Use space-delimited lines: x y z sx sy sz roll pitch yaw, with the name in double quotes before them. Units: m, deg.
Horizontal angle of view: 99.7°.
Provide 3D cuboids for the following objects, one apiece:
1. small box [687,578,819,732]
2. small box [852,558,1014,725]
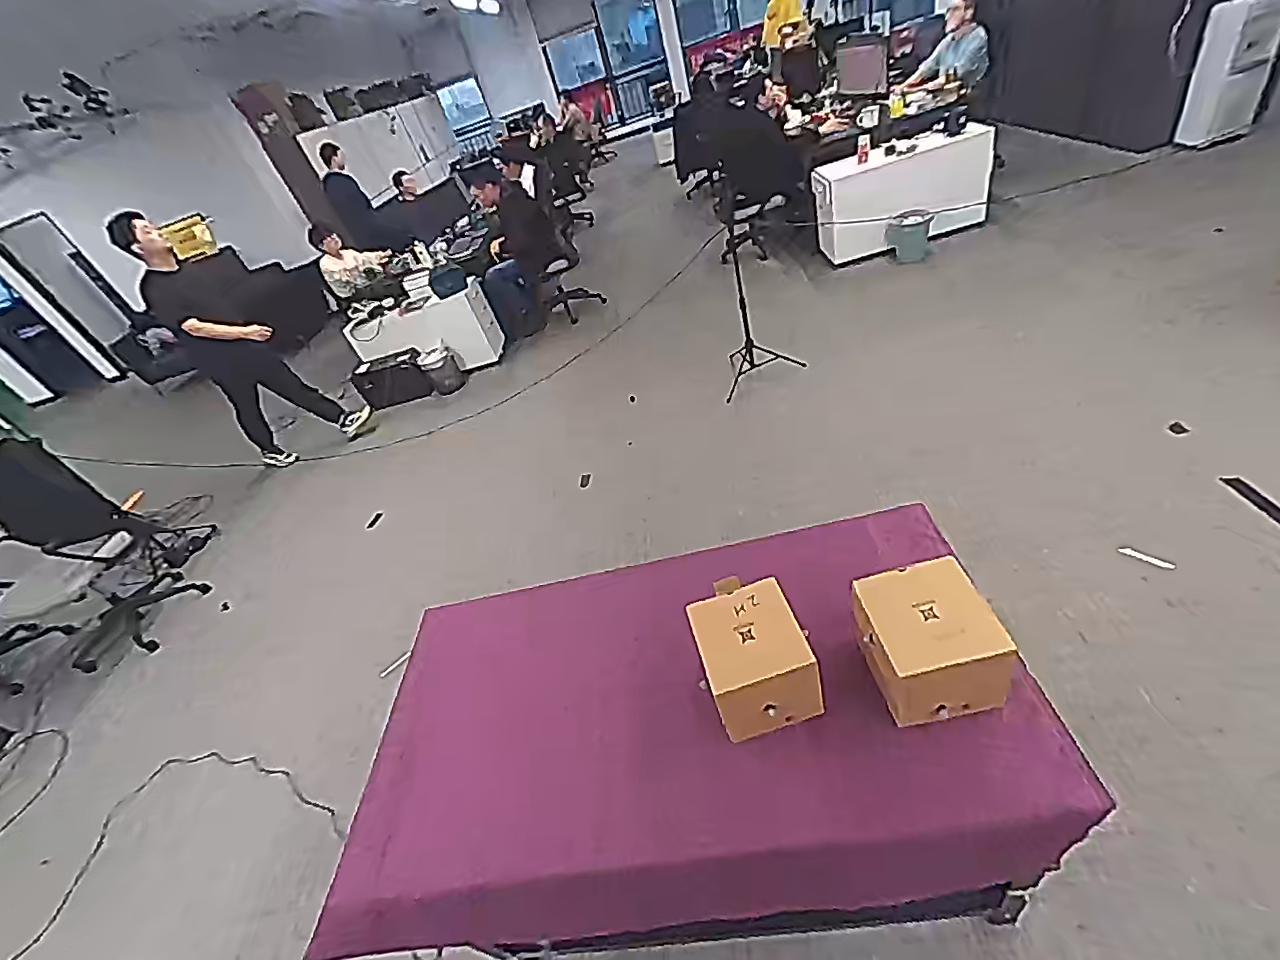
"small box" 0.195 0.307 0.931 0.168 0.176 0.179 -19 38 2
"small box" 0.456 0.259 0.870 0.168 0.176 0.179 -16 38 7
